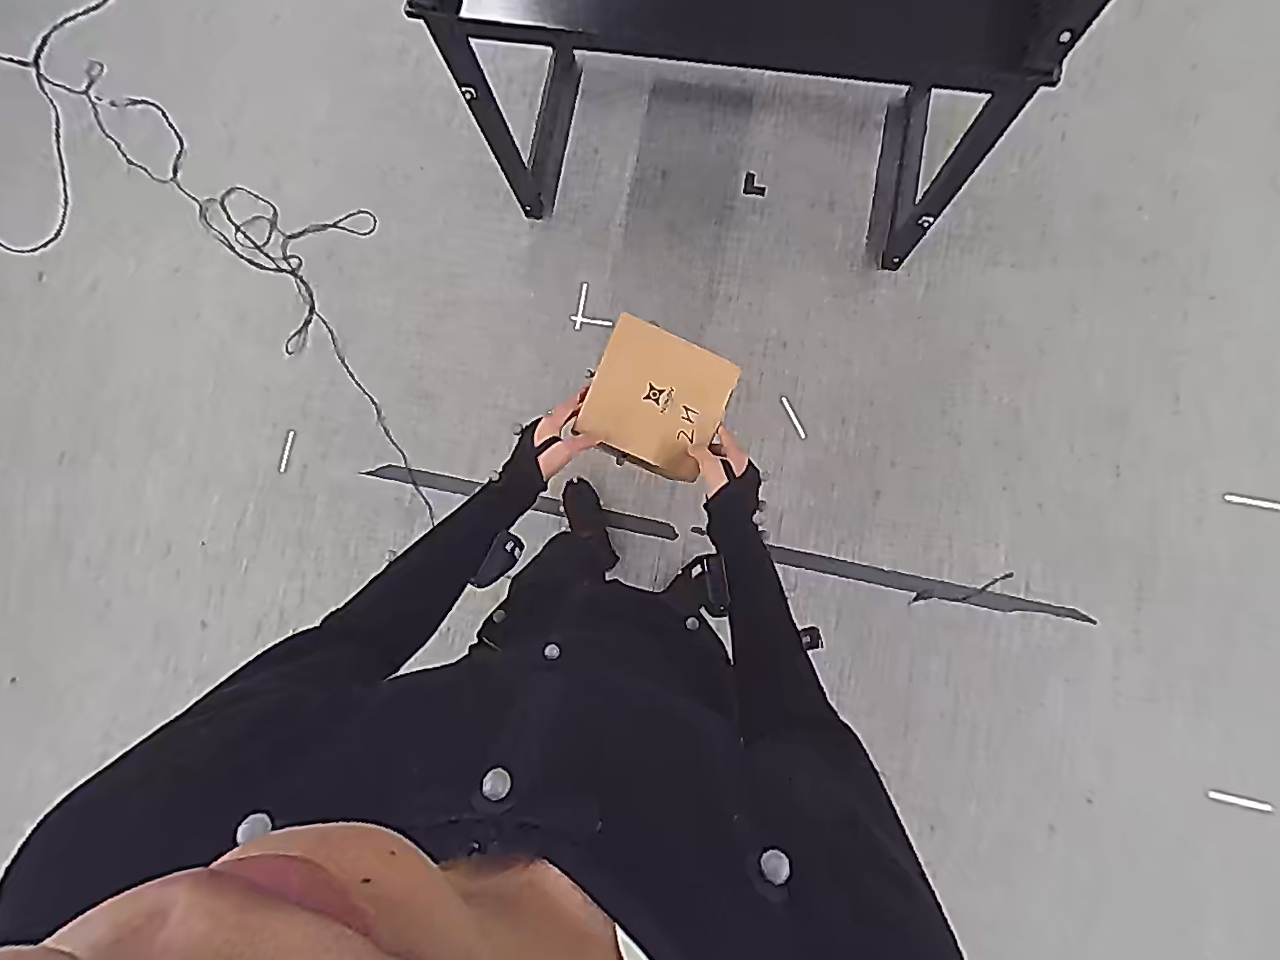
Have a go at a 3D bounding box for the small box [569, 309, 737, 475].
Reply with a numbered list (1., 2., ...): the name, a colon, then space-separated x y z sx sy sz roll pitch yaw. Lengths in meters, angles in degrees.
1. small box: 0.007 -0.113 0.770 0.179 0.176 0.168 23 89 -9
